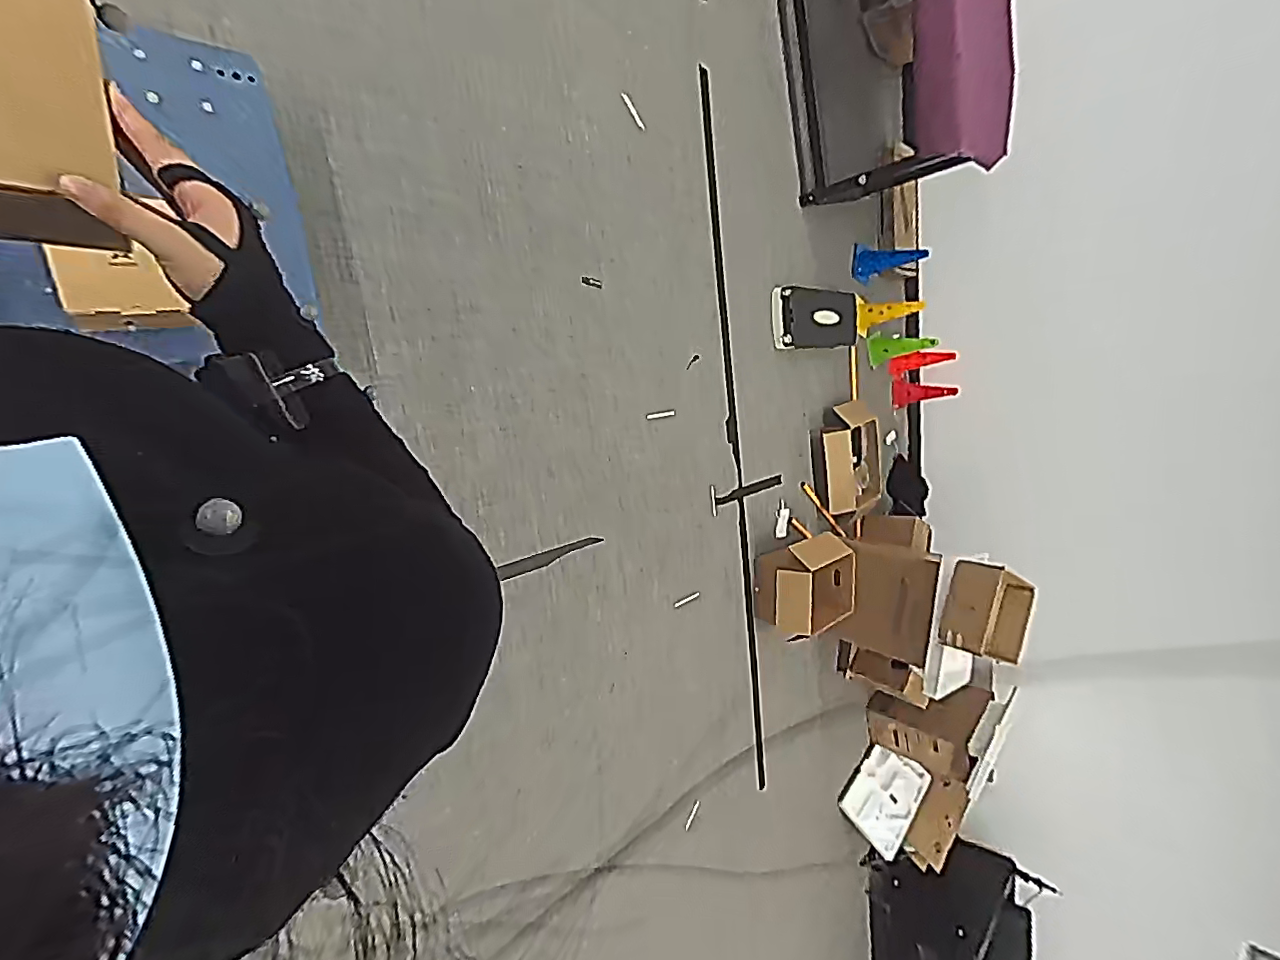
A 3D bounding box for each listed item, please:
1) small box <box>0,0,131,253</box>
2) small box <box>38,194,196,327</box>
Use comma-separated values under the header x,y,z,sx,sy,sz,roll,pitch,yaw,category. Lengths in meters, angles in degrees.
x,y,z,sx,sy,sz,roll,pitch,yaw,category
-0.441,-0.260,0.336,0.168,0.176,0.179,-8,103,-41,small box
-0.863,-0.356,0.890,0.168,0.176,0.179,-18,106,-40,small box
